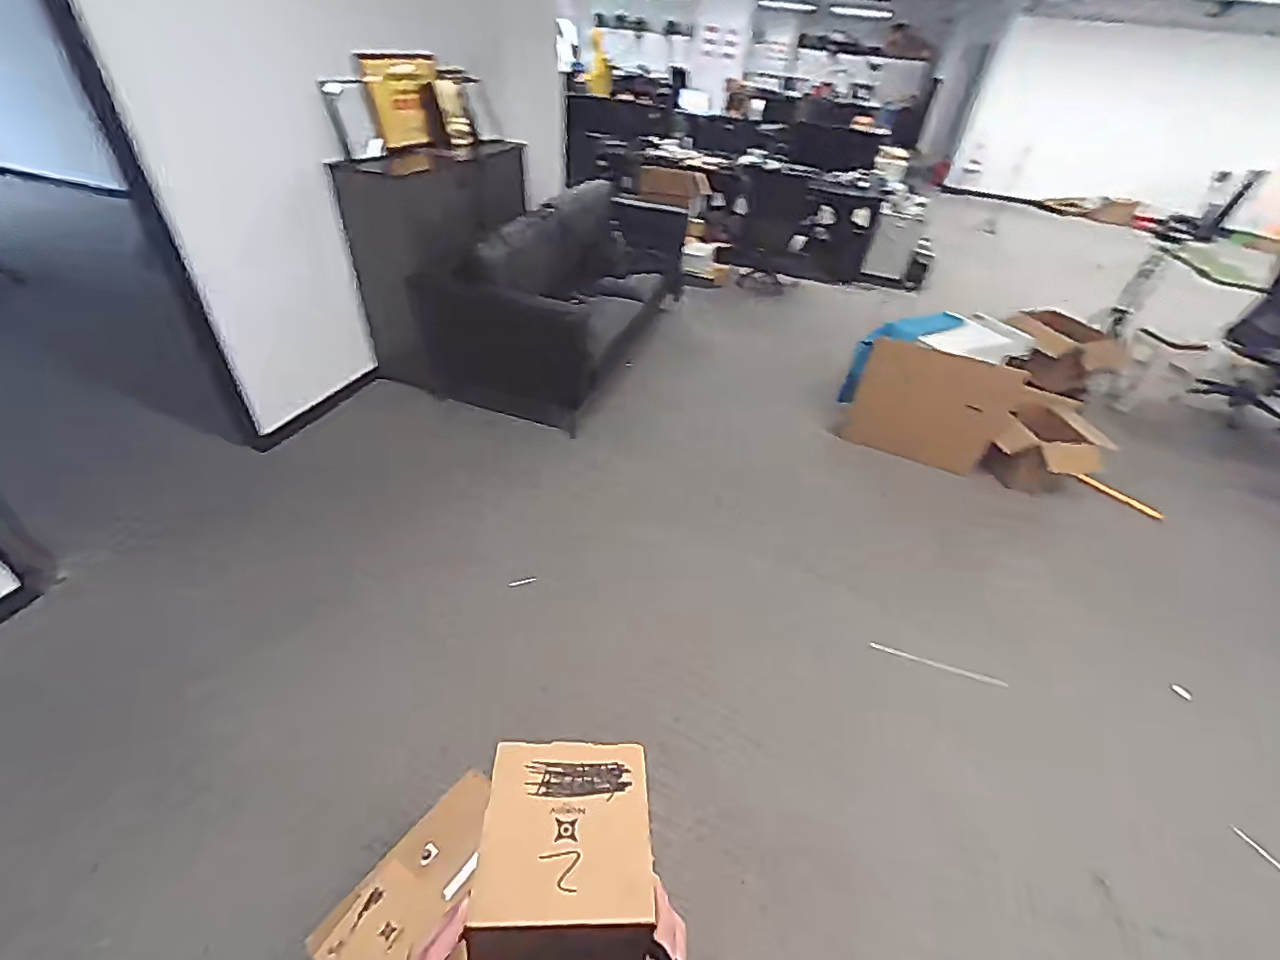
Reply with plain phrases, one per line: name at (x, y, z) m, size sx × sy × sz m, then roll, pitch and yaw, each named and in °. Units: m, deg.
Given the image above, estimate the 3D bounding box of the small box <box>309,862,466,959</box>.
small box at (-0.425, 0.820, 0.940) m, size 0.179 × 0.176 × 0.168 m, roll 23°, pitch 41°, yaw 18°
